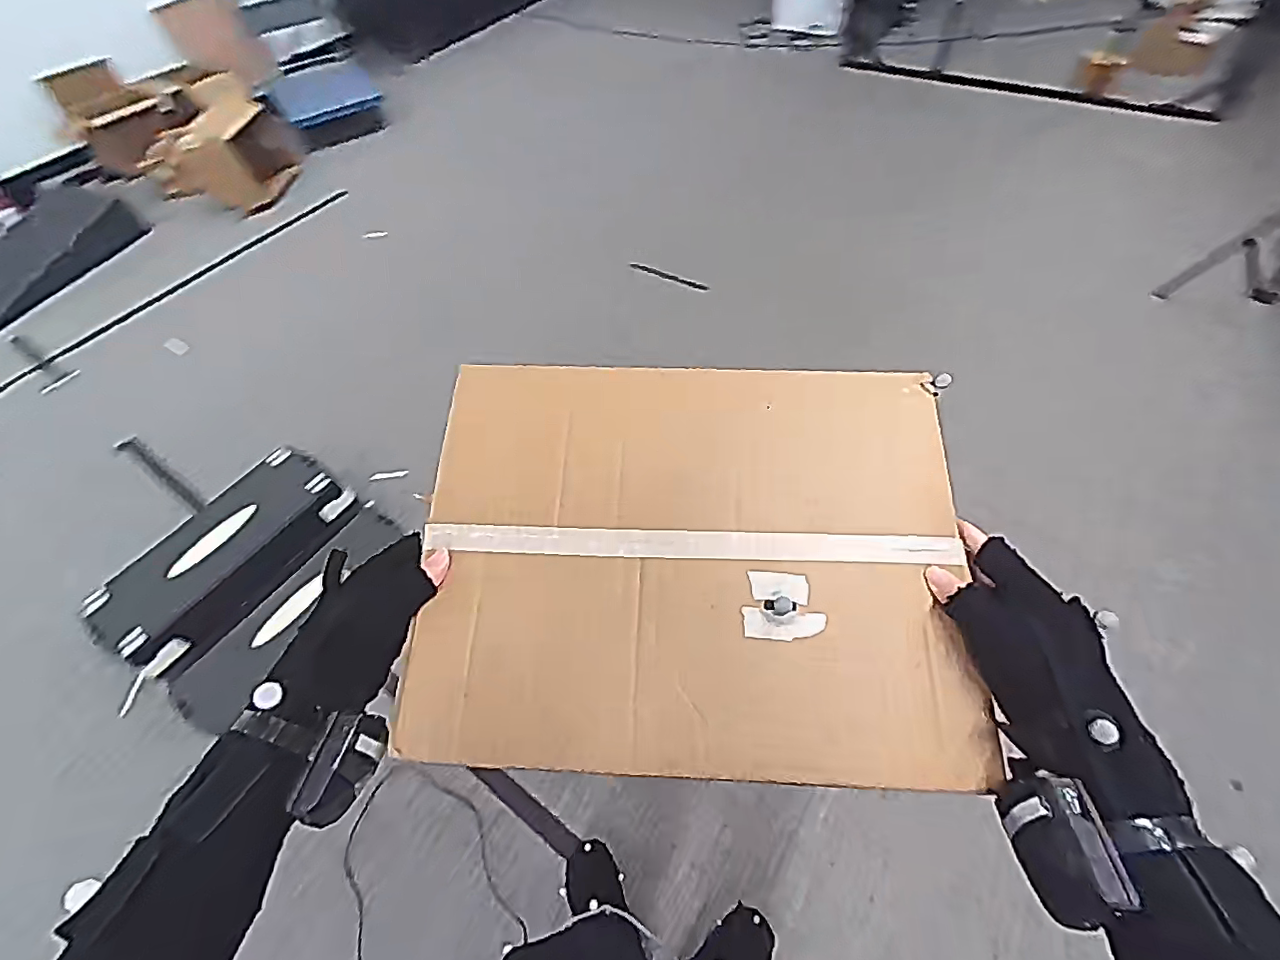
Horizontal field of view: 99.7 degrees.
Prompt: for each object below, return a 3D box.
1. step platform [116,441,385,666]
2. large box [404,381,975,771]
[{"bbox_3d":[-1.137,0.194,1.621,0.286,0.204,0.684,27,61,22],"label":"step platform"},{"bbox_3d":[0.036,0.110,0.564,0.408,0.320,0.320,1,69,2],"label":"large box"}]
